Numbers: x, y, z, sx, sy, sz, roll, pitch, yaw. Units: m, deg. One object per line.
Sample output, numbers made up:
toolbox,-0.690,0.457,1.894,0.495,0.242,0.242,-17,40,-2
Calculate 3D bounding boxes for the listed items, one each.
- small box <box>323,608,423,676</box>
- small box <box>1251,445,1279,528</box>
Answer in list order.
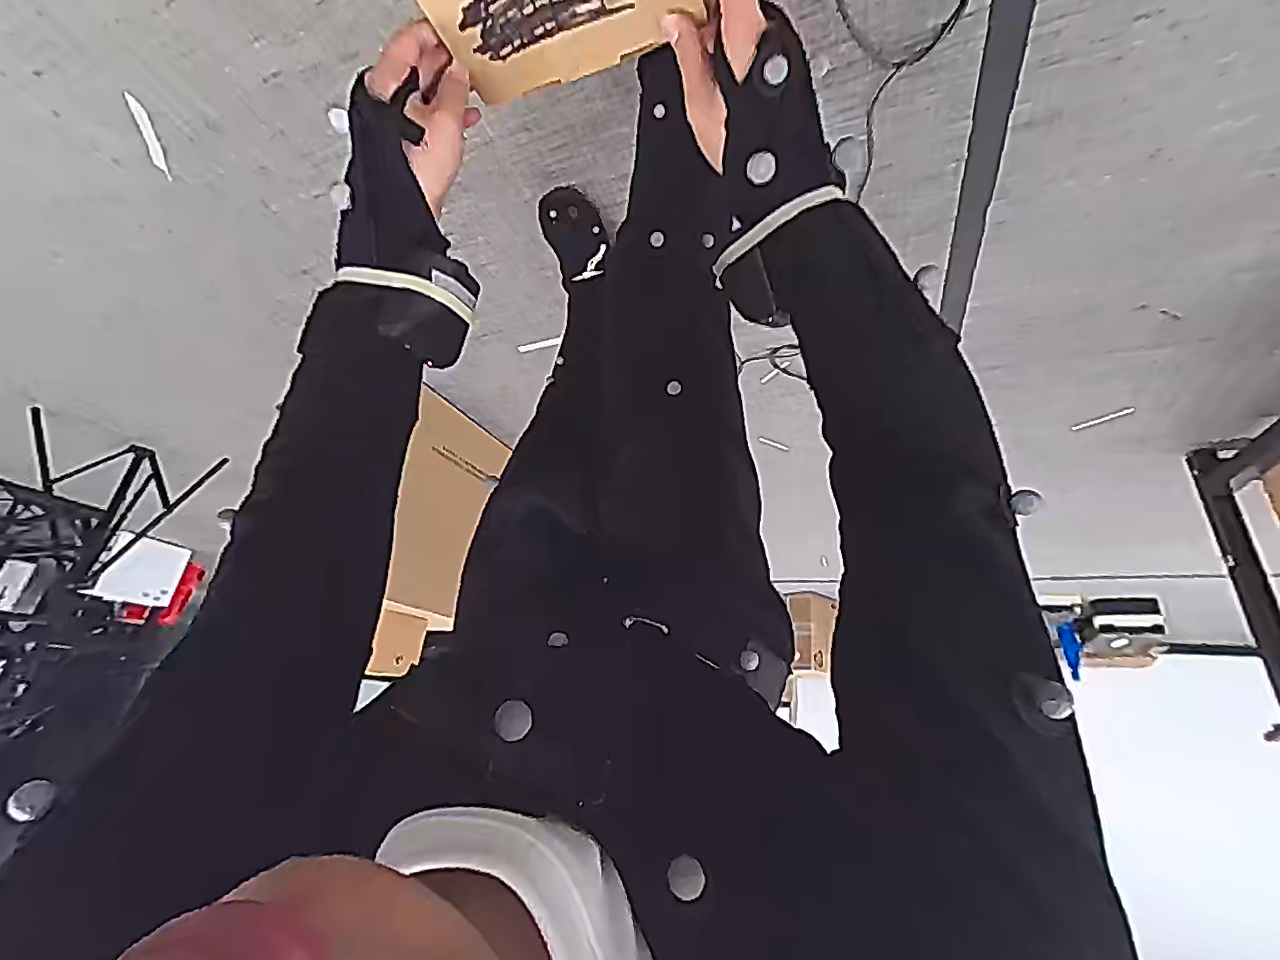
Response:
small box,-0.760,0.467,1.555,0.168,0.176,0.179,-6,155,23
small box,1.617,0.002,1.277,0.168,0.176,0.179,-5,154,23
